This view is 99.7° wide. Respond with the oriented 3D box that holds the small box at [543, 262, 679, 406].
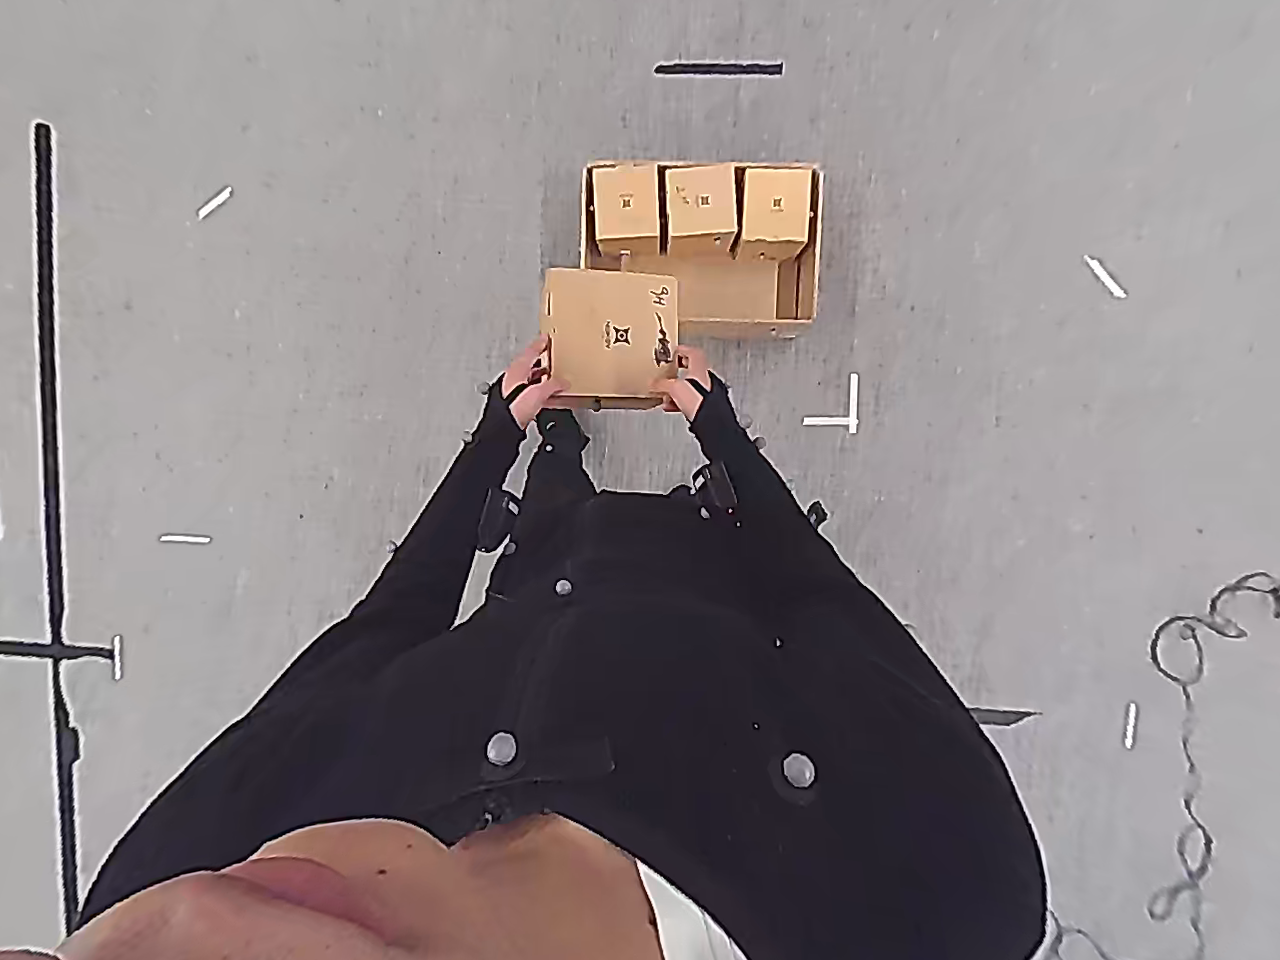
[{"bbox_3d":[-0.050,-0.198,0.779,0.179,0.176,0.168,0,93,-12],"label":"small box"}]
